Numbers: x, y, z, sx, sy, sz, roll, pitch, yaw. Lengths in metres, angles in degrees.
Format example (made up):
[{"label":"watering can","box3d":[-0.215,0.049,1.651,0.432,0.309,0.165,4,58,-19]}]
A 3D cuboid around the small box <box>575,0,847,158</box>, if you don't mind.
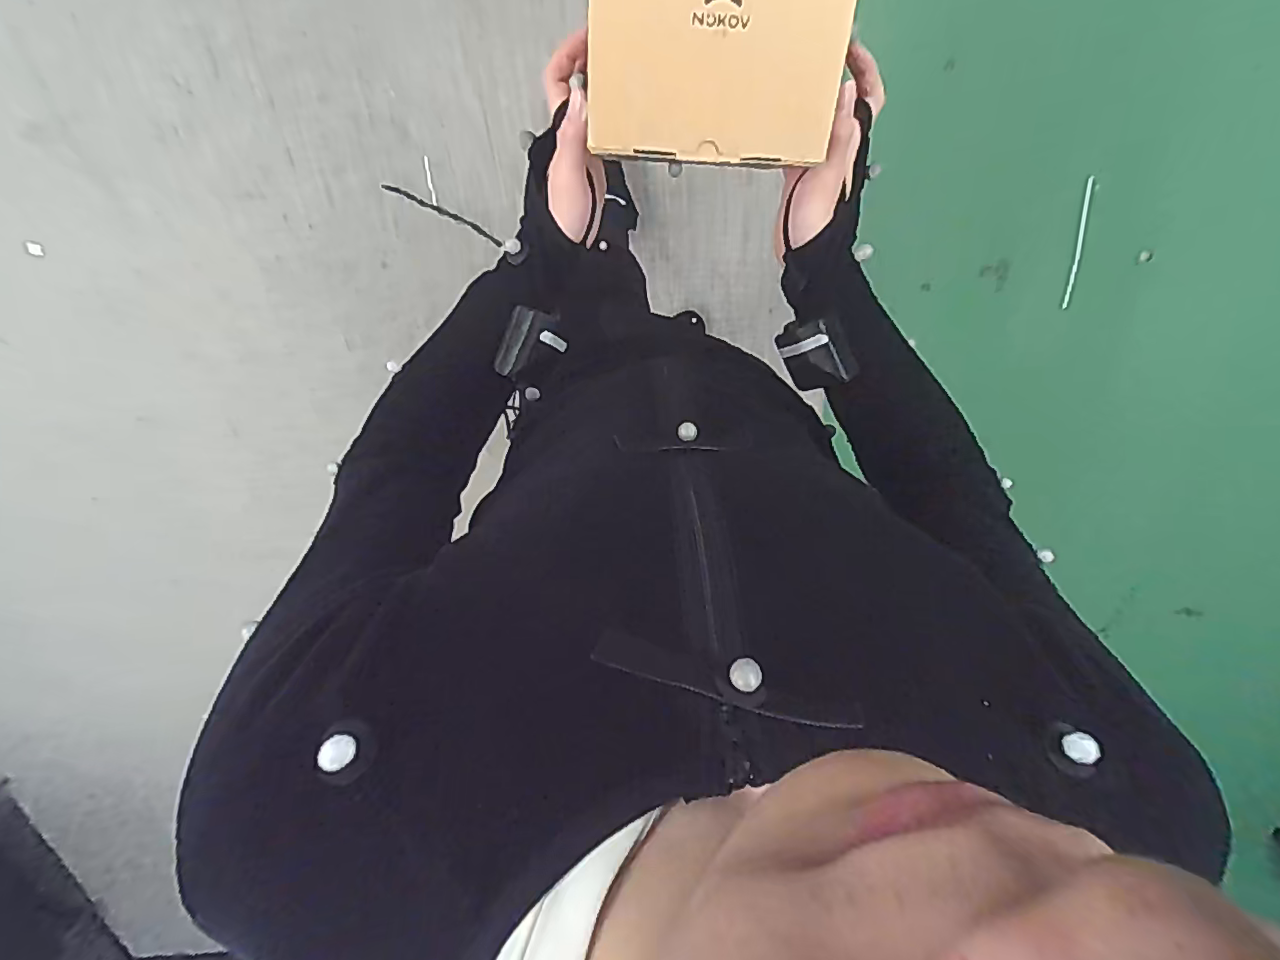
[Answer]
[{"label":"small box","box3d":[0.040,-0.337,0.385,0.168,0.176,0.179,2,121,-3]}]
